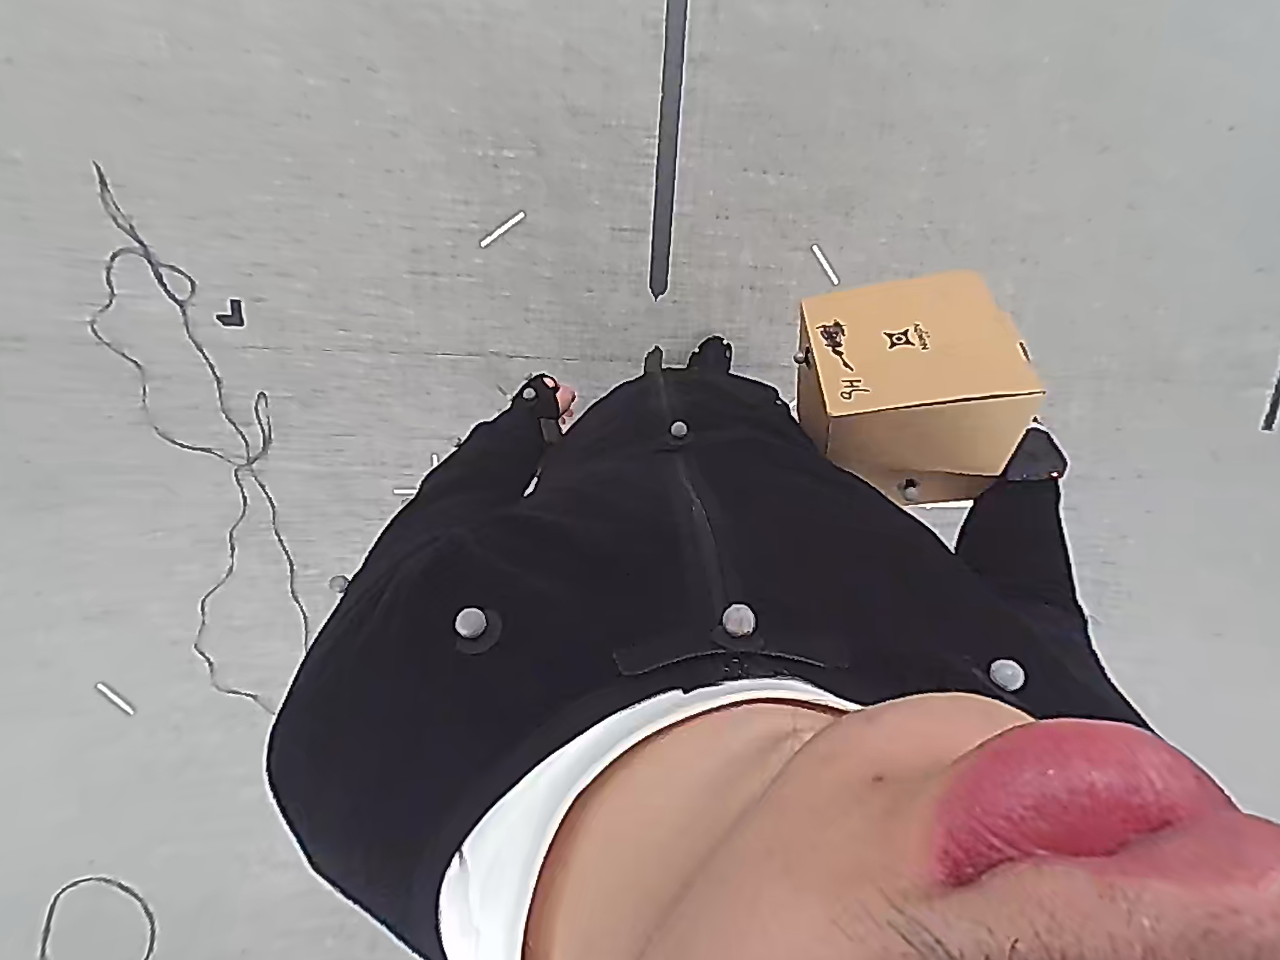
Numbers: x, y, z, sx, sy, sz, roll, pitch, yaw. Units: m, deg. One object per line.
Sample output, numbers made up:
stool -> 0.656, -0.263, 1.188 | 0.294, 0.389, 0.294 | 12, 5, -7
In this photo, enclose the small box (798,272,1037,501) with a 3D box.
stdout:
small box -> 0.274, -0.093, 0.586 | 0.179, 0.168, 0.176 | -6, 144, 10
